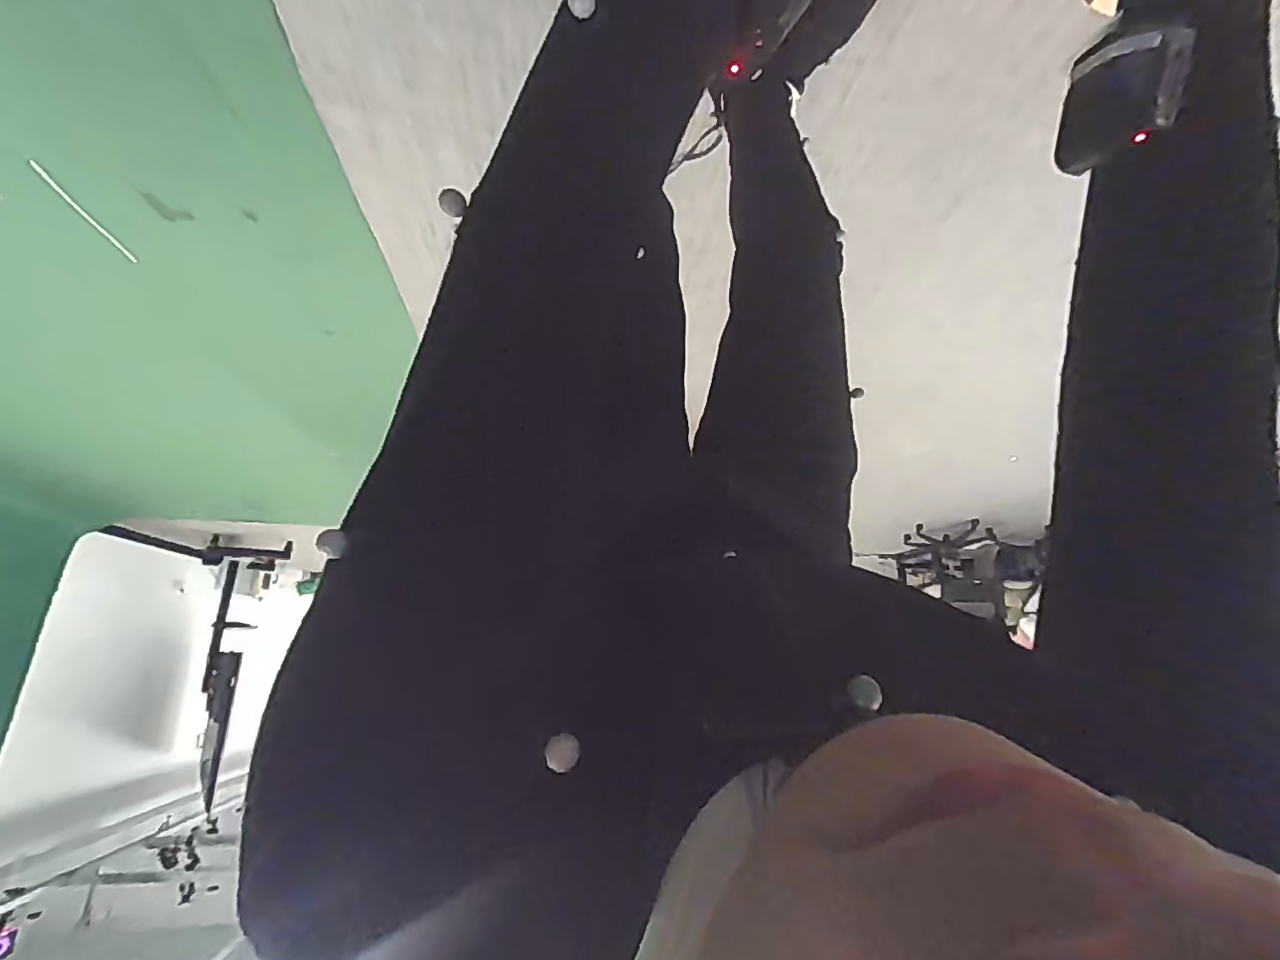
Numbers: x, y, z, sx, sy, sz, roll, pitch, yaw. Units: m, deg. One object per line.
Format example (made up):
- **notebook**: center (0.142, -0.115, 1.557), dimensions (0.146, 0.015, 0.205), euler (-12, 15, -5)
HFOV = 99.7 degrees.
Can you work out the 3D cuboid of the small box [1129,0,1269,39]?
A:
- **small box**: center (0.565, -0.582, 0.510), dimensions (0.179, 0.176, 0.168), euler (6, 163, -14)
